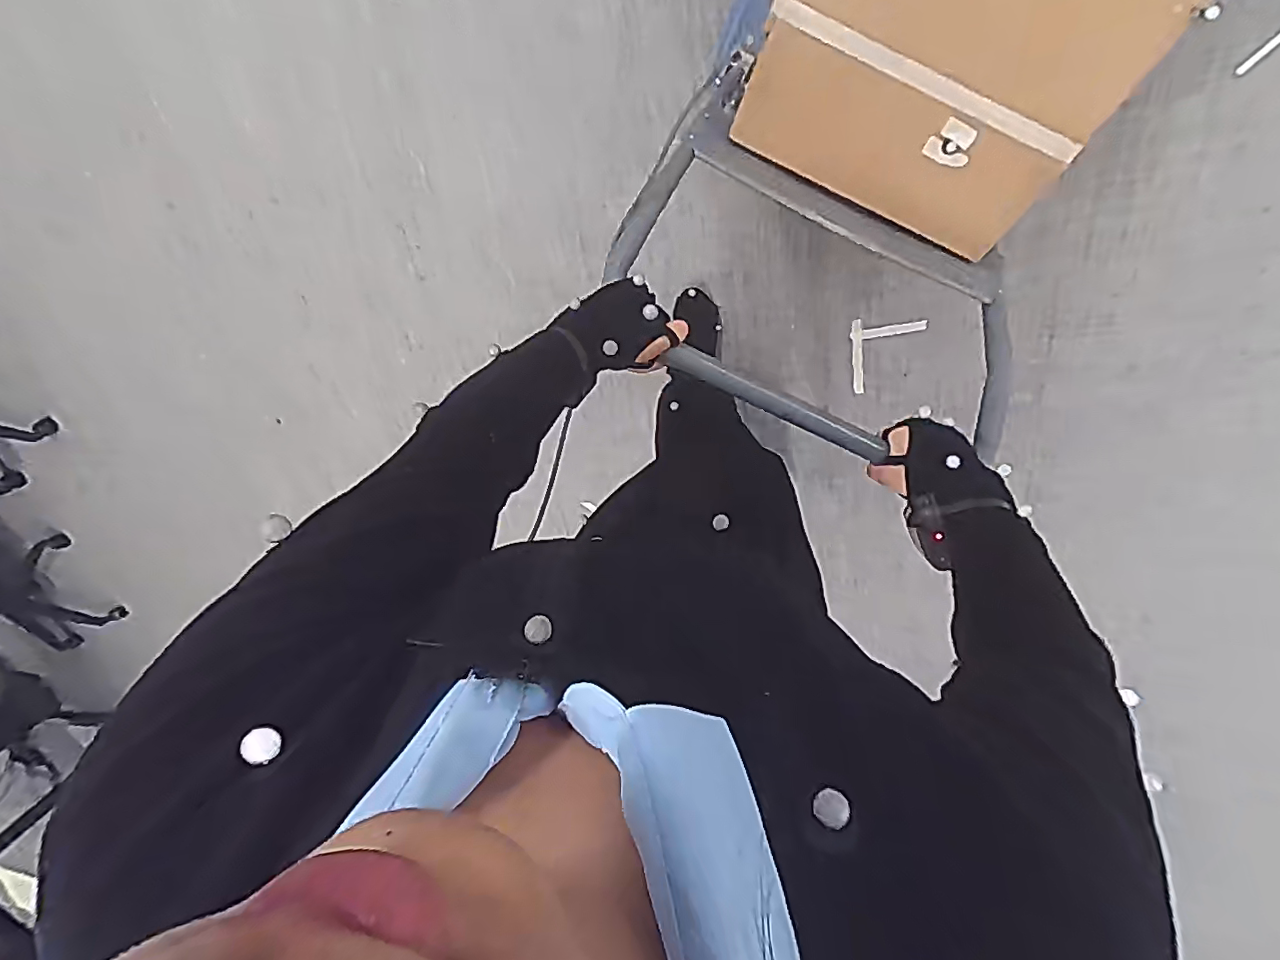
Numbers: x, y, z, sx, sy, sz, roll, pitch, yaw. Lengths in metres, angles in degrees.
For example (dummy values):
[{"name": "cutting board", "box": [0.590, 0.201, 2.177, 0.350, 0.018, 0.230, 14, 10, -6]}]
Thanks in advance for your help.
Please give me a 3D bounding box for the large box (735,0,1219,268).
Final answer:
[{"name": "large box", "box": [0.394, -0.571, 0.737, 0.408, 0.320, 0.320, 25, 142, -3]}]
